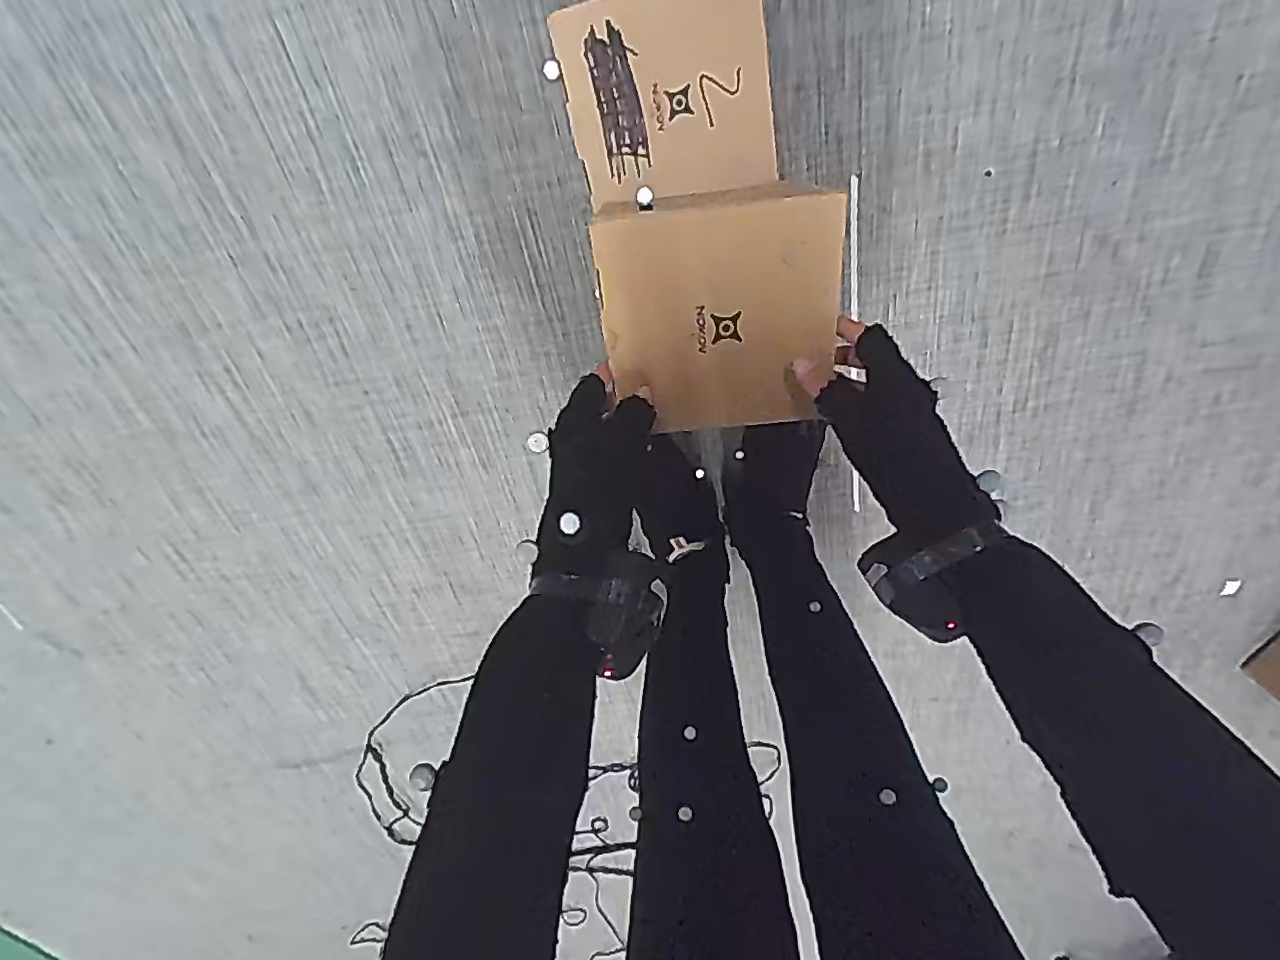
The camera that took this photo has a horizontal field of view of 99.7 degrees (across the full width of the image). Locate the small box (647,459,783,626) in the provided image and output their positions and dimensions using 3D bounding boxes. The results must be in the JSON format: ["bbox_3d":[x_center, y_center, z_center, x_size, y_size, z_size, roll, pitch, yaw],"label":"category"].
[{"bbox_3d":[0.109,0.091,0.832,0.168,0.176,0.179,-11,121,-5],"label":"small box"}]

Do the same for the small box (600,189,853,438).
[{"bbox_3d":[0.065,-0.152,0.475,0.179,0.176,0.168,-5,120,4],"label":"small box"}]
